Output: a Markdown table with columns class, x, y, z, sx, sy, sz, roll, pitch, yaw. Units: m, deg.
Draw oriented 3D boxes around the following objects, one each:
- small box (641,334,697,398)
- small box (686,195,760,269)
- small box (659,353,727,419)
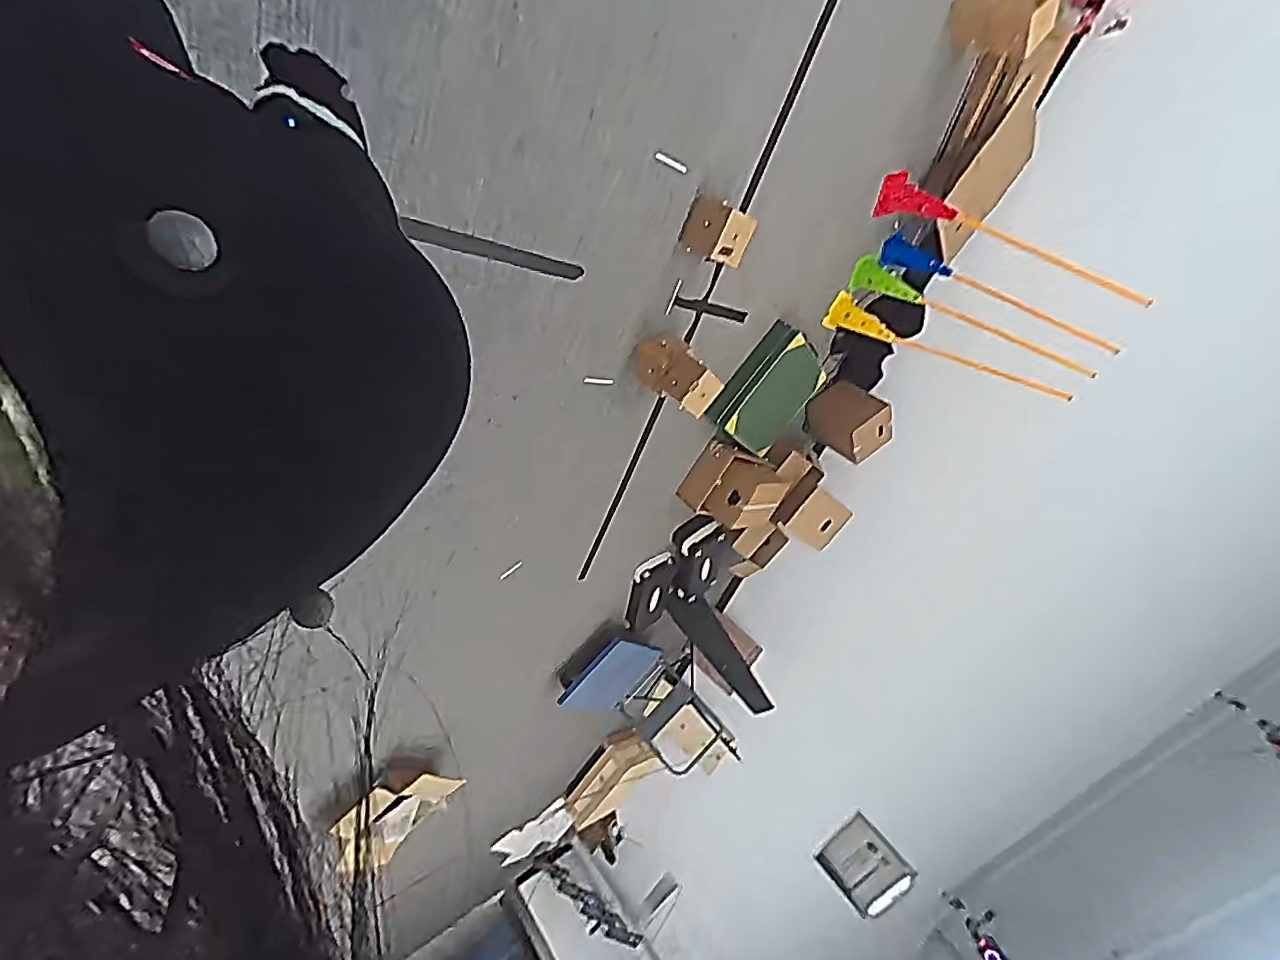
| class | x | y | z | sx | sy | sz | roll | pitch | yaw |
| --- | --- | --- | --- | --- | --- | --- | --- | --- | --- |
| small box | 0.116 | -0.478 | 2.218 | 0.168 | 0.176 | 0.179 | -33 | 146 | -20 |
| small box | 0.294 | -0.898 | 1.959 | 0.168 | 0.176 | 0.179 | -5 | 128 | -47 |
| small box | 0.206 | -0.375 | 2.124 | 0.168 | 0.176 | 0.179 | -50 | 148 | 9 |
